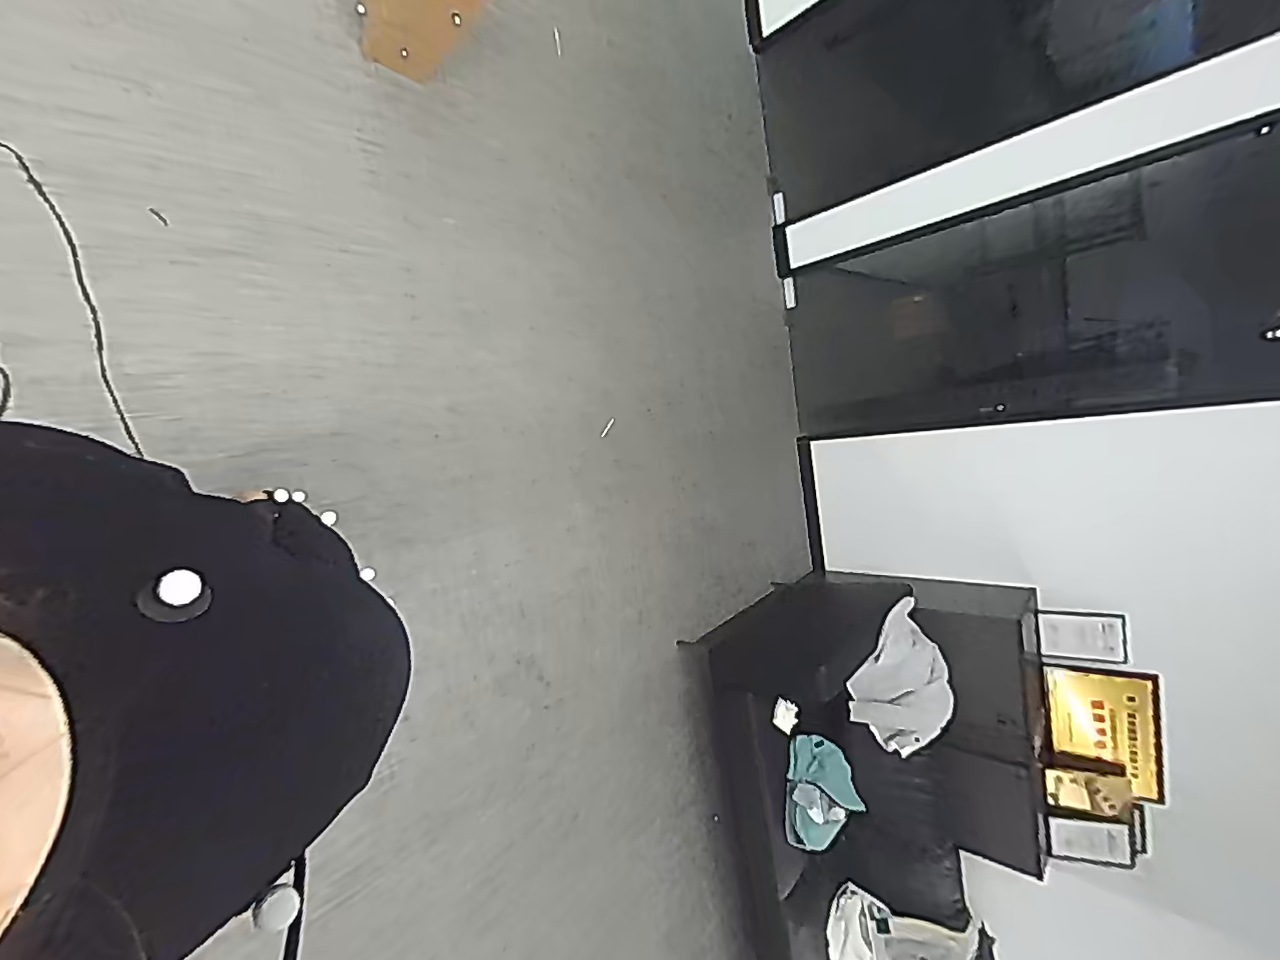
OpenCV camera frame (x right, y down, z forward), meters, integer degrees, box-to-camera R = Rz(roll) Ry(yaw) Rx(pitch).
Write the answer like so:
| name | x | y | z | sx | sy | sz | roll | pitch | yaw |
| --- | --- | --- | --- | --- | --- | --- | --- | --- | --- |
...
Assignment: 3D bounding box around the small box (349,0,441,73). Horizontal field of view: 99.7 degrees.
| name | x | y | z | sx | sy | sz | roll | pitch | yaw |
| --- | --- | --- | --- | --- | --- | --- | --- | --- | --- |
| small box | -0.670 | -1.262 | 1.475 | 0.179 | 0.176 | 0.168 | -6 | 93 | -45 |
